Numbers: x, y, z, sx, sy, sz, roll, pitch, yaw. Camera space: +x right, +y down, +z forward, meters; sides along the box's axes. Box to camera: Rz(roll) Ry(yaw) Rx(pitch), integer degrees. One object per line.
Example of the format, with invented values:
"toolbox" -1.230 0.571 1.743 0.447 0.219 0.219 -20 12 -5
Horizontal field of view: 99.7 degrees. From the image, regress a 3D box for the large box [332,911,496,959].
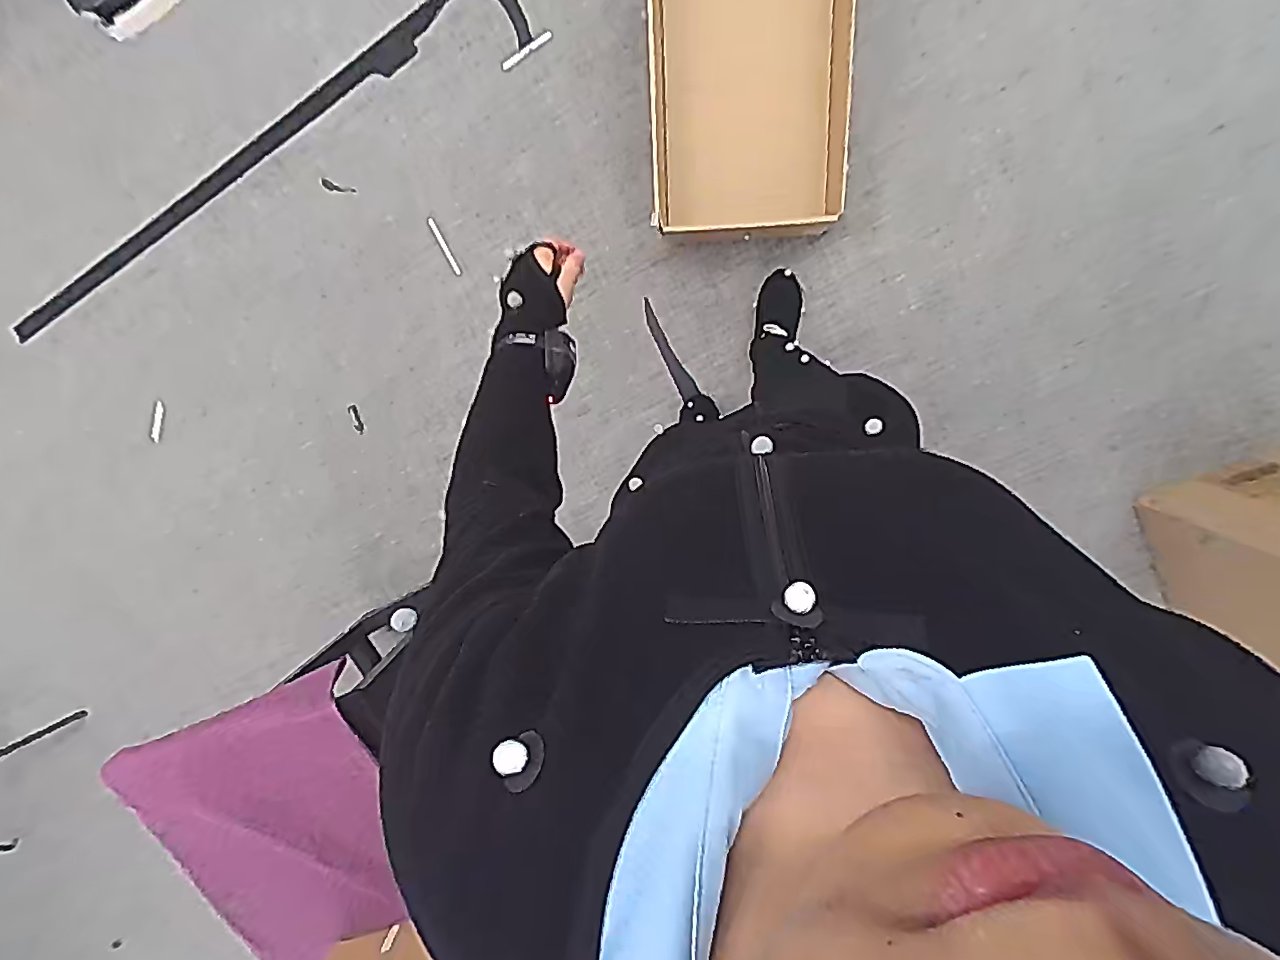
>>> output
"large box" -0.394 1.072 0.939 0.320 0.320 0.408 -24 102 15
